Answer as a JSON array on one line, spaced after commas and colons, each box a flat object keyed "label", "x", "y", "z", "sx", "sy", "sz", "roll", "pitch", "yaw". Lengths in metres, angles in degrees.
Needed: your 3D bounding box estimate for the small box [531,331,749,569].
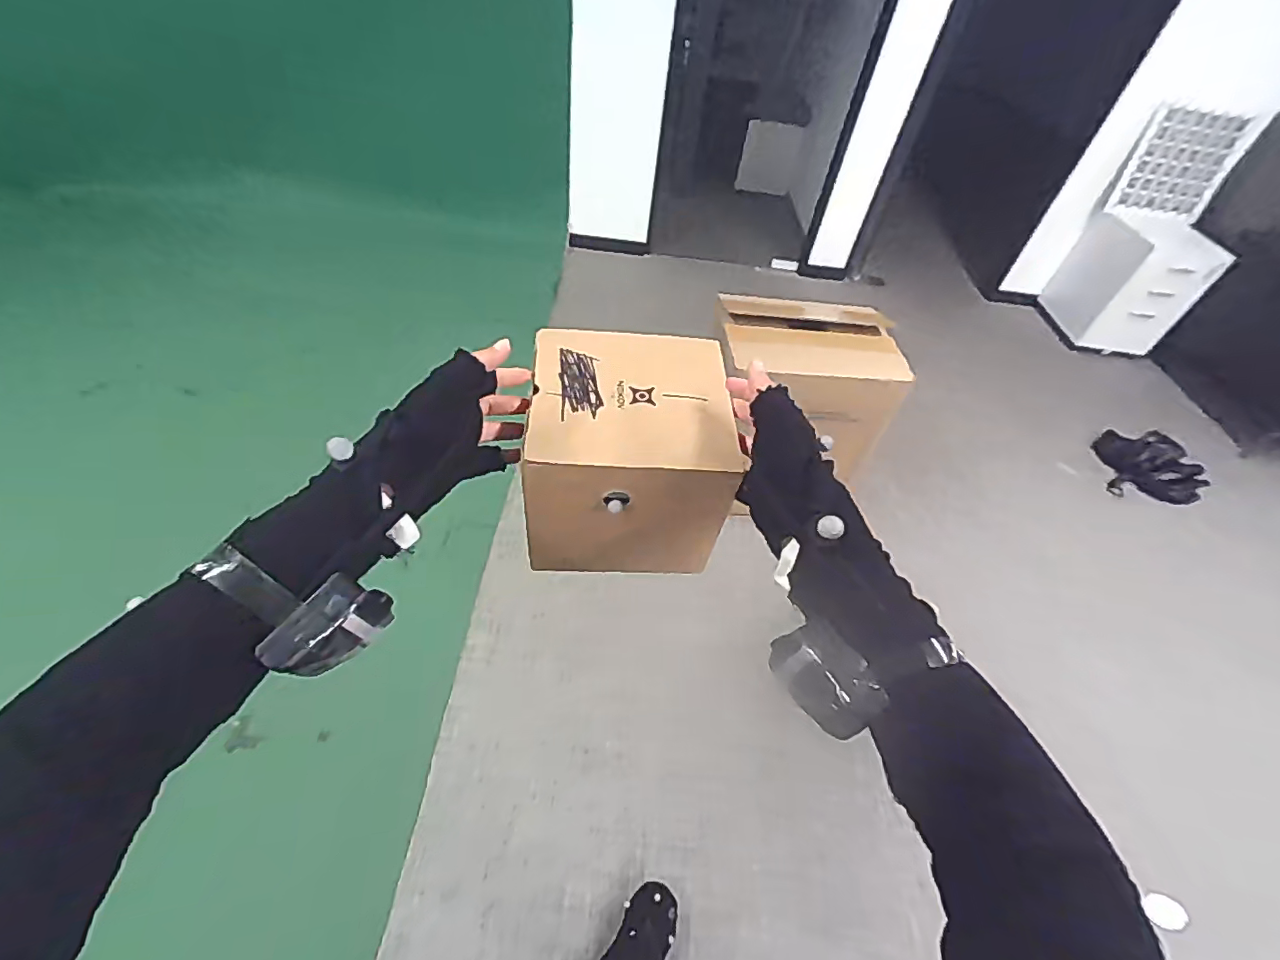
[{"label": "small box", "x": -0.009, "y": -0.024, "z": 0.533, "sx": 0.179, "sy": 0.176, "sz": 0.168, "roll": 3, "pitch": 52, "yaw": -7}]
